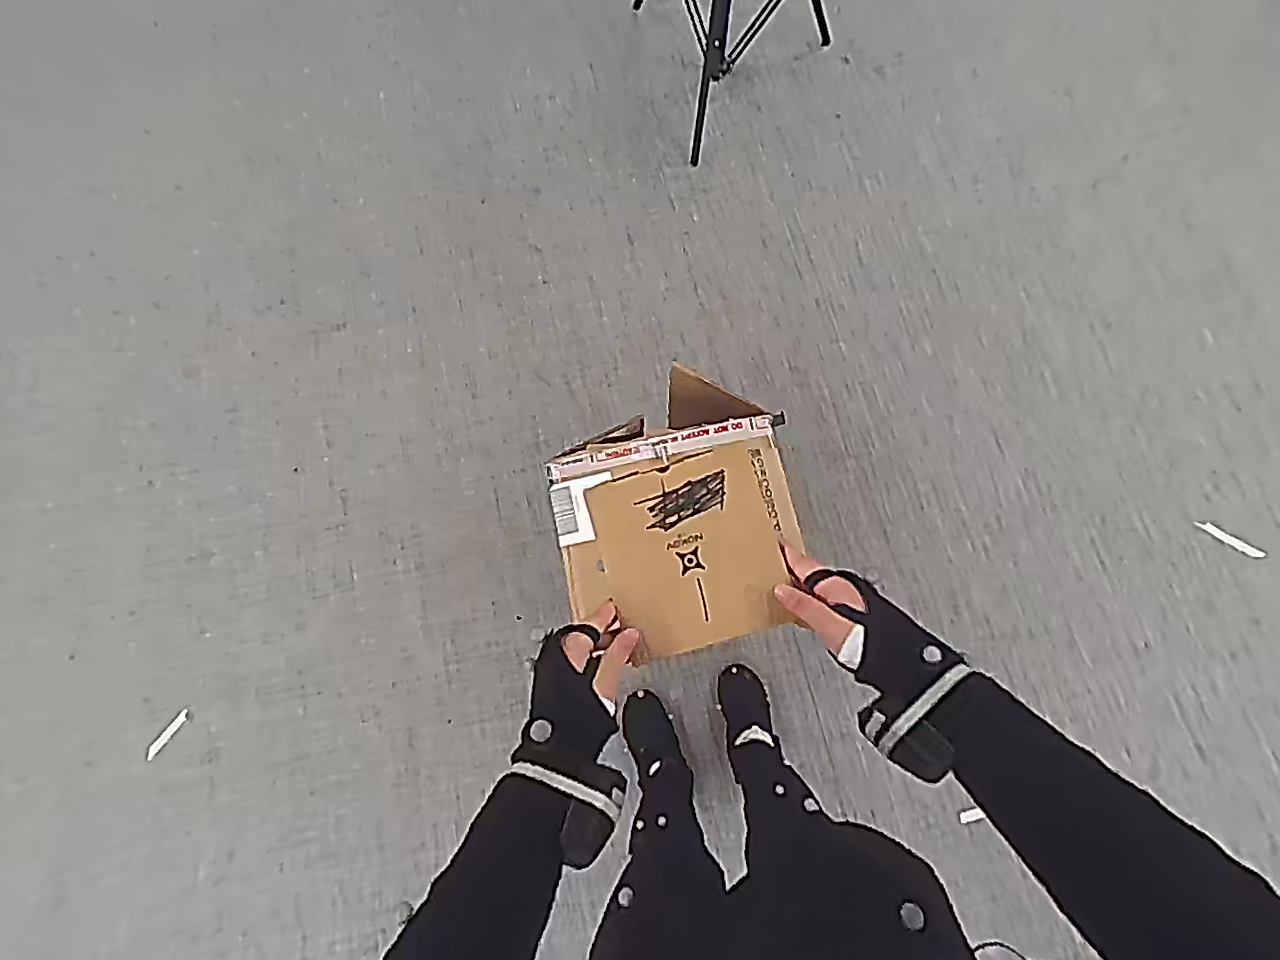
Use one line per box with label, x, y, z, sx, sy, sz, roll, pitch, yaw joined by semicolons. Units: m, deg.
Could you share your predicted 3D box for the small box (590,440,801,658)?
small box;0.057;0.075;0.598;0.168;0.176;0.179;-18;82;4
